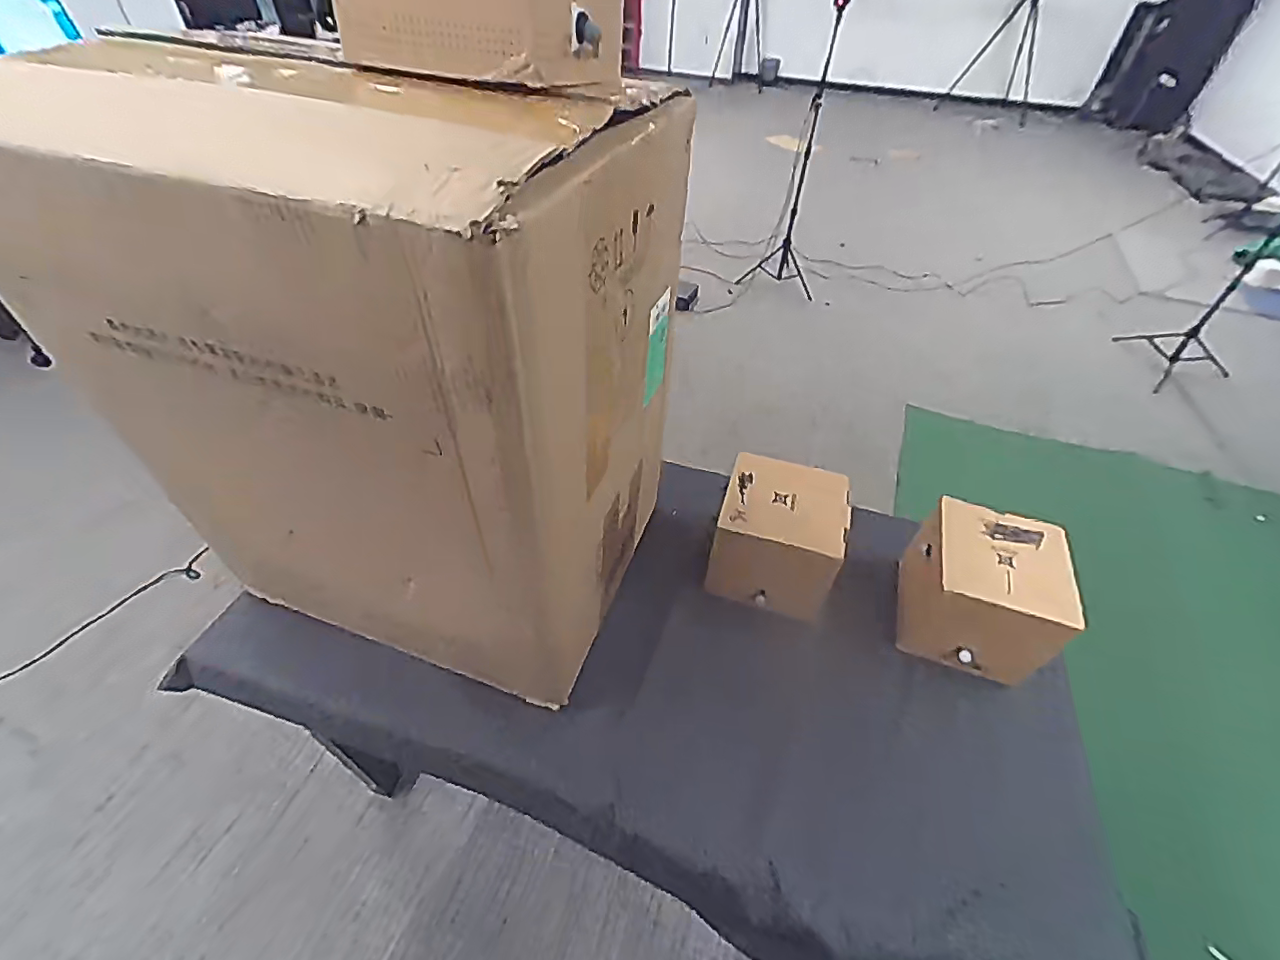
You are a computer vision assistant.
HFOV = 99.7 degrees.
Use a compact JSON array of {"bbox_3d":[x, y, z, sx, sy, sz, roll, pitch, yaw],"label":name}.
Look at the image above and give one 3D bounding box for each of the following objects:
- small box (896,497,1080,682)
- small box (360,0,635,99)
[{"bbox_3d":[0.493,0.161,0.796,0.168,0.176,0.179,16,48,13],"label":"small box"},{"bbox_3d":[-0.110,-0.416,0.431,0.179,0.176,0.168,17,42,11],"label":"small box"}]
